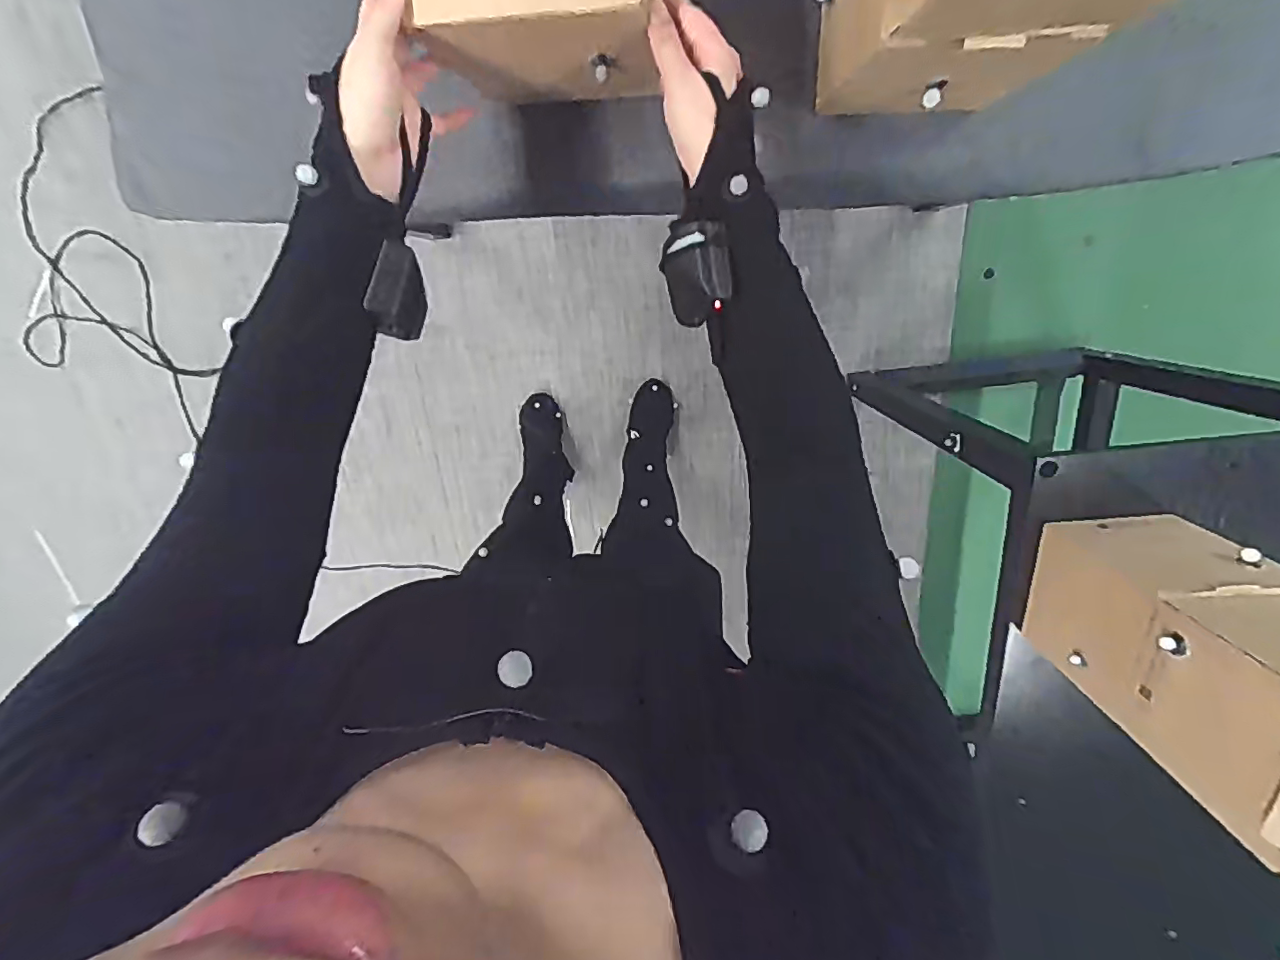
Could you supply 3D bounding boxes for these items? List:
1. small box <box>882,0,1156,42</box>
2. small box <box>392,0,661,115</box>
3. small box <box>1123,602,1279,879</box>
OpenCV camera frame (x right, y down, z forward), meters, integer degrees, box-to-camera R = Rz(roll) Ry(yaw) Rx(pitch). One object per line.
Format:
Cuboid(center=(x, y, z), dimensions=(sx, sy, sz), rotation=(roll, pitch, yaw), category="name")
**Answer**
Cuboid(center=(0.254, -0.367, 0.284), dimensions=(0.179, 0.176, 0.168), rotation=(-3, 109, 3), category="small box")
Cuboid(center=(-0.076, -0.408, 0.419), dimensions=(0.179, 0.176, 0.168), rotation=(1, 108, 9), category="small box")
Cuboid(center=(0.609, 0.225, 0.494), dimensions=(0.179, 0.176, 0.168), rotation=(-2, 112, 1), category="small box")
